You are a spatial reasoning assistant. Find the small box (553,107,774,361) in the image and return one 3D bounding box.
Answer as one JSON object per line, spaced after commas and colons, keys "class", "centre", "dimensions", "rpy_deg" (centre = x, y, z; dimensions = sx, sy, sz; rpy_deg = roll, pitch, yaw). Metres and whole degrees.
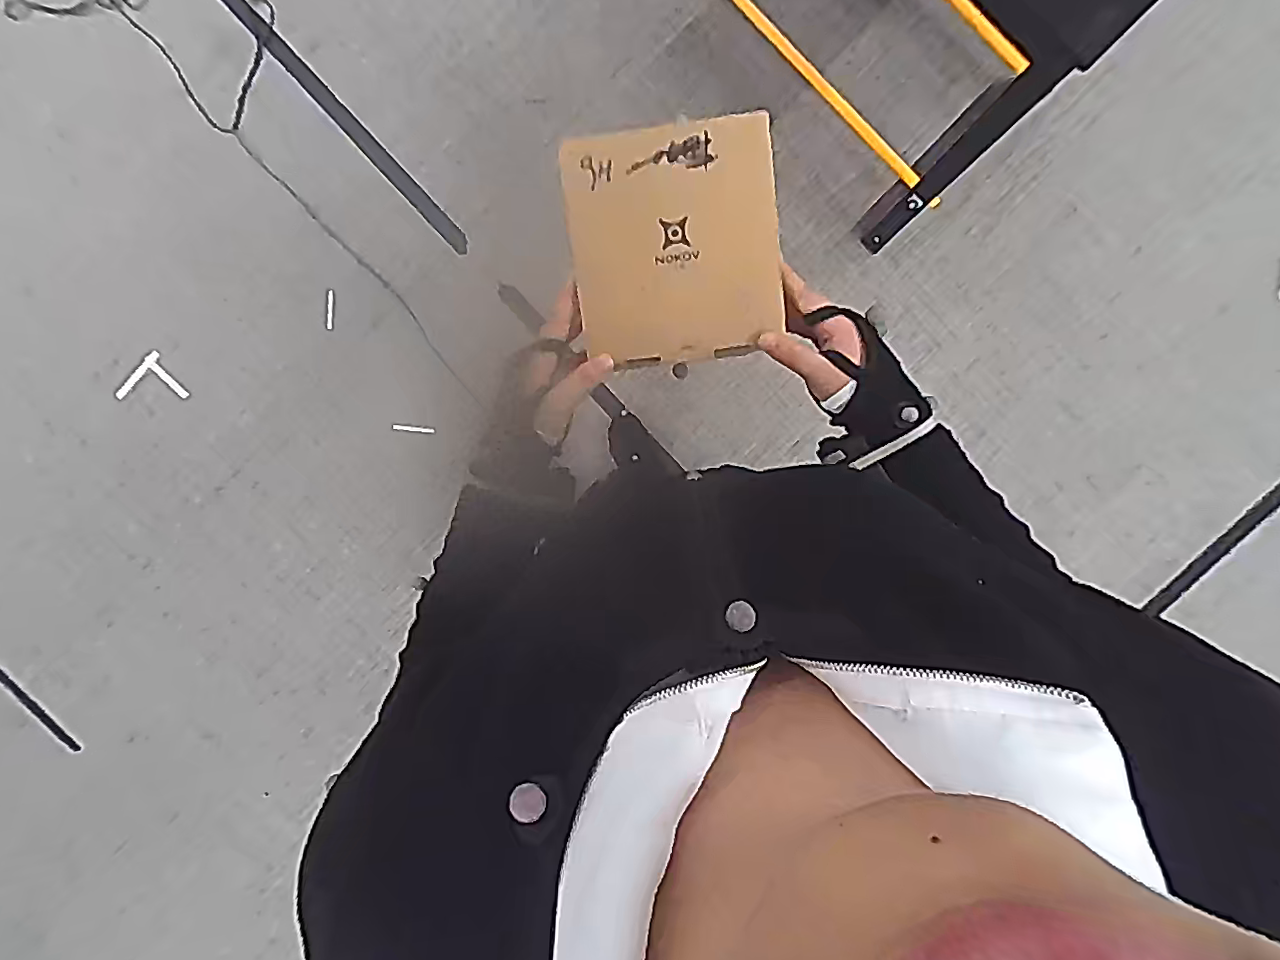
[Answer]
{"class": "small box", "centre": [0.023, -0.211, 0.512], "dimensions": [0.168, 0.176, 0.179], "rpy_deg": [-7, 102, 1]}
